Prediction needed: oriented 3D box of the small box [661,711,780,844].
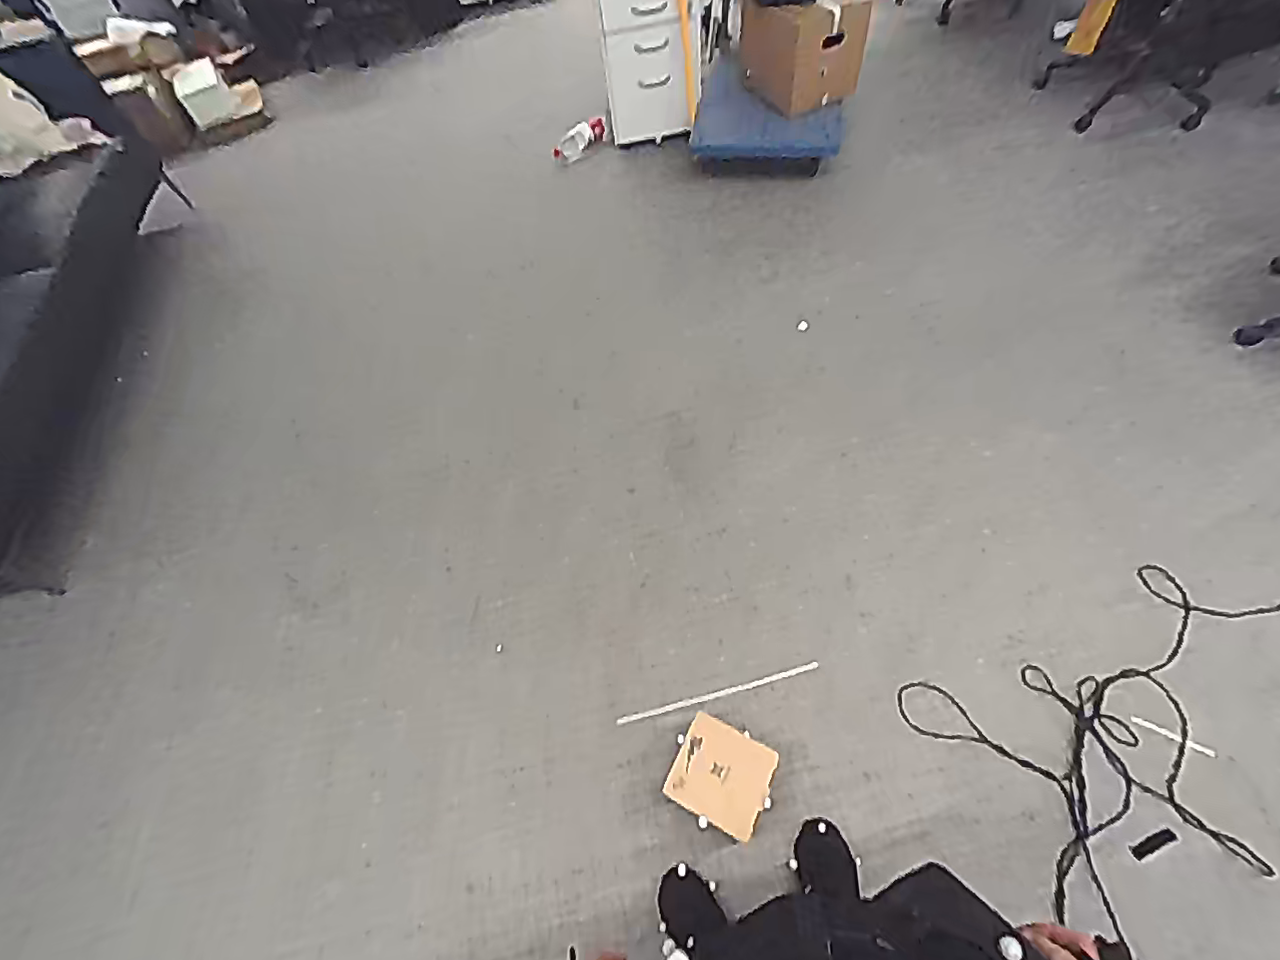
[{"bbox_3d":[0.161,0.590,1.084,0.179,0.176,0.168,22,65,20],"label":"small box"}]
